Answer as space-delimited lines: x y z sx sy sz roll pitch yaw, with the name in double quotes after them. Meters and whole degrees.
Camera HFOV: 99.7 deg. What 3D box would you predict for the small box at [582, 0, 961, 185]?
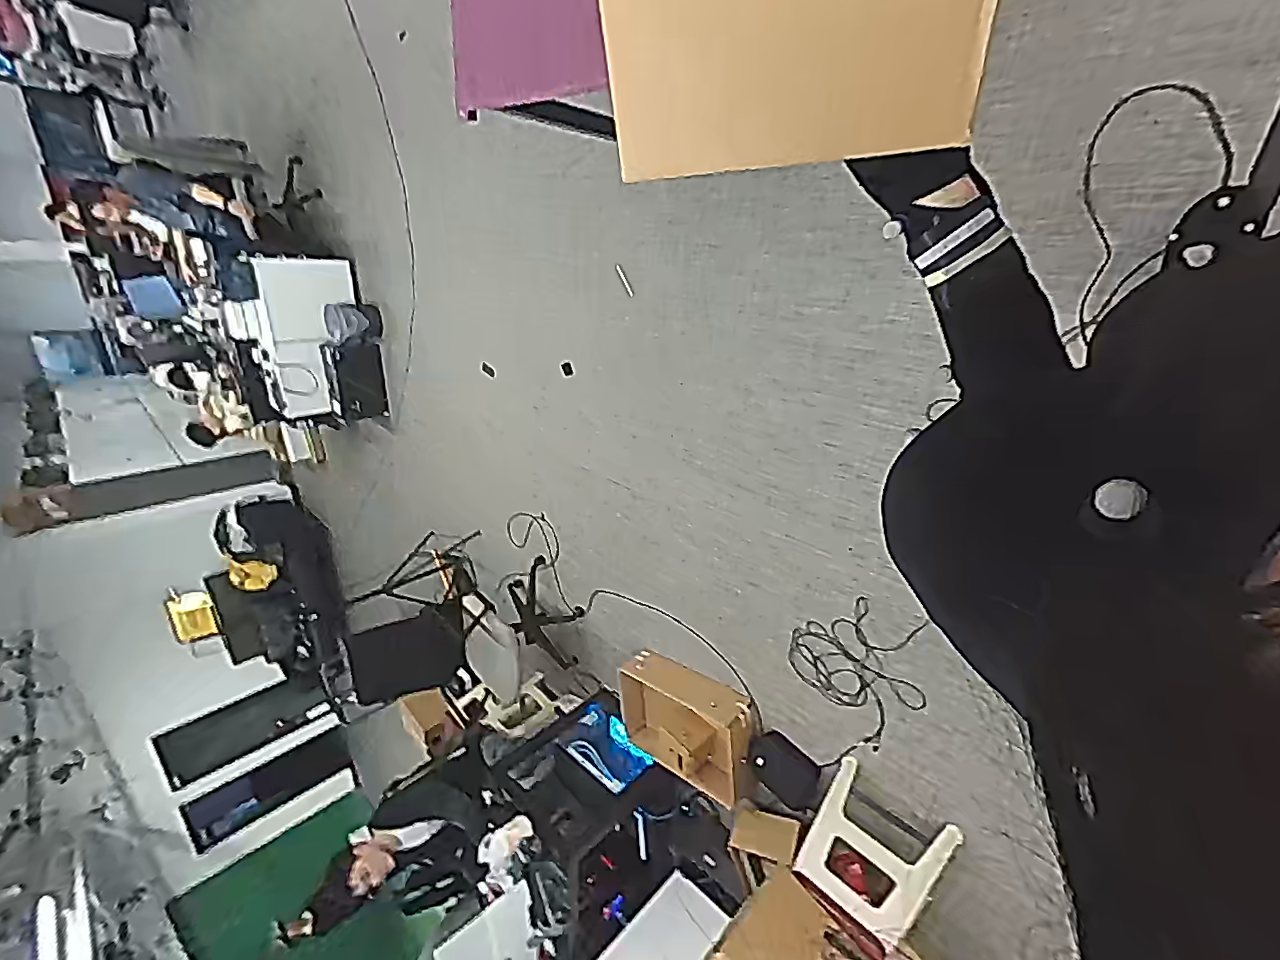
0.066 -0.274 0.280 0.168 0.179 0.176 0 129 14 "small box"
